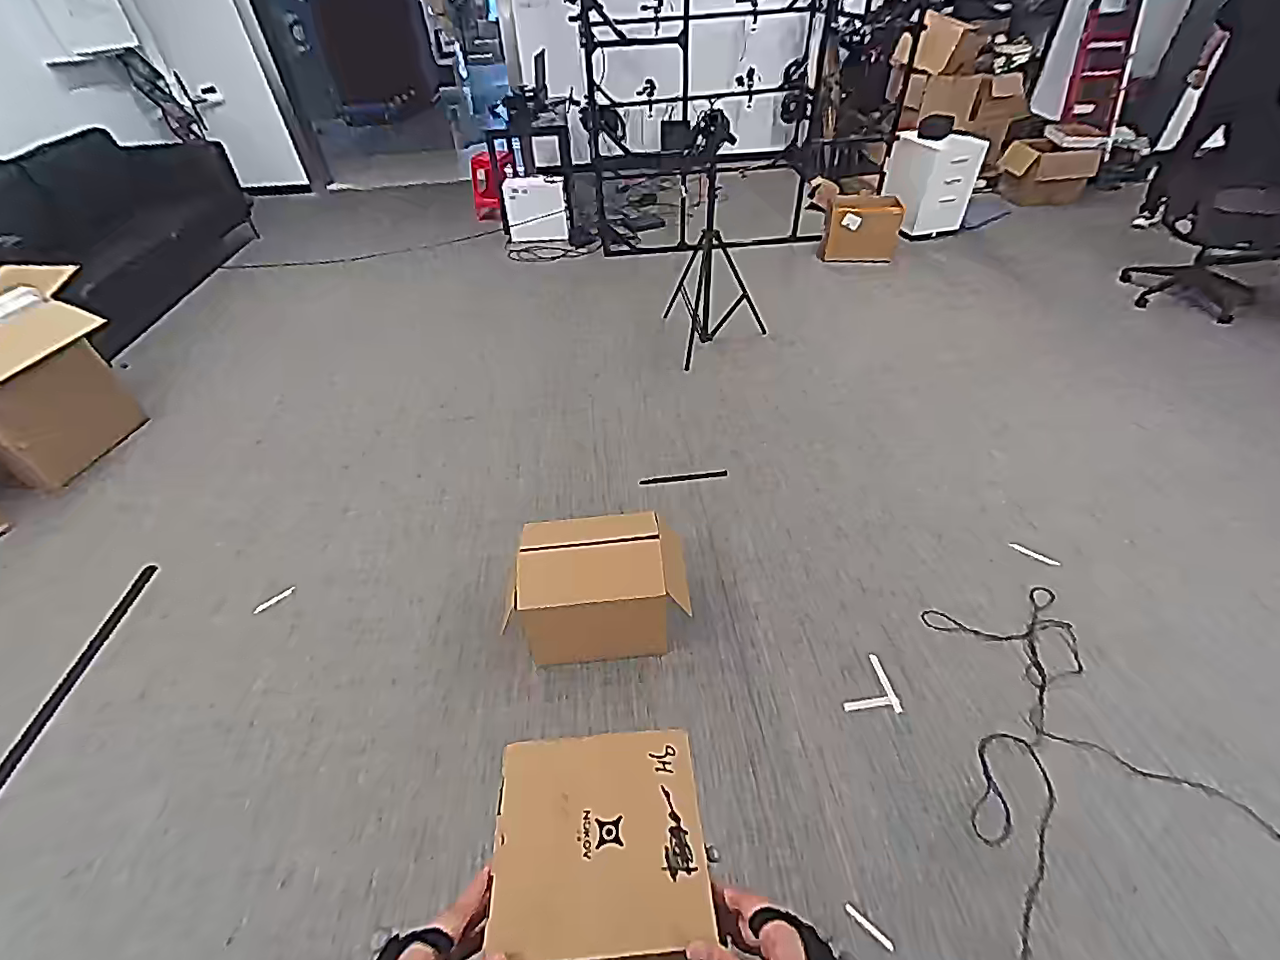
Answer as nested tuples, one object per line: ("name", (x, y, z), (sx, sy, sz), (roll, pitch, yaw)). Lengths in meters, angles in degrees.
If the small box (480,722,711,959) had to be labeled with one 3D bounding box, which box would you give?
("small box", (-0.035, 0.356, 0.510), (0.179, 0.176, 0.168), (-4, 38, -3))
